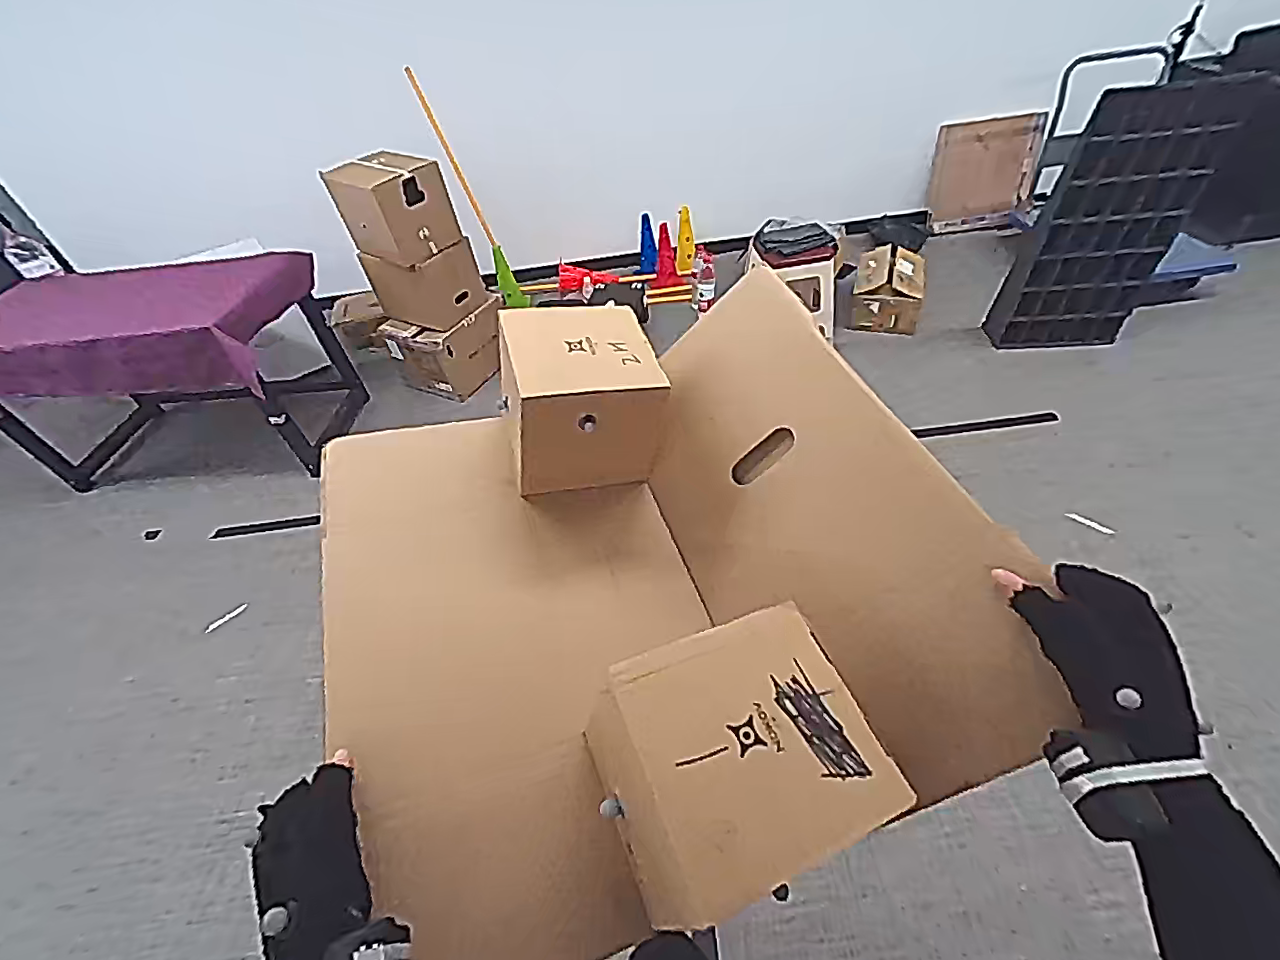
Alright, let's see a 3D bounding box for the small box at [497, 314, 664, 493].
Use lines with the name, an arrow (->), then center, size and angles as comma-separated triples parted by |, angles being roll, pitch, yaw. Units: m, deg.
small box -> -0.086, -0.098, 0.708 | 0.179, 0.176, 0.168 | -7, 52, -18
